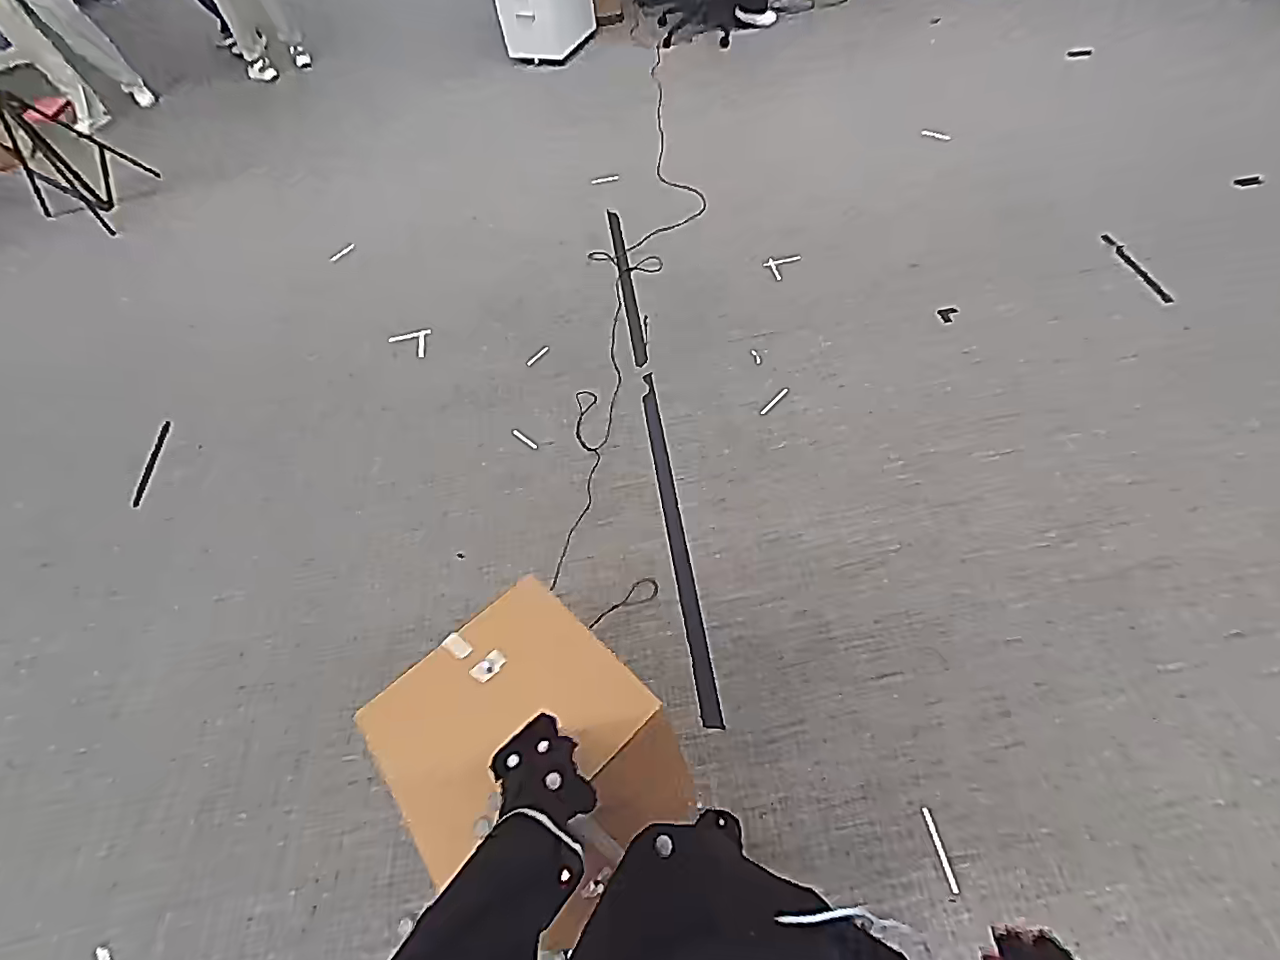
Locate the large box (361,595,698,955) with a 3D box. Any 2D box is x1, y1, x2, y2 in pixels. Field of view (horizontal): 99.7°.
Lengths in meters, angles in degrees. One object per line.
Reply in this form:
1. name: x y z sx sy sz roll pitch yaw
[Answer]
1. large box: -0.144 0.459 0.852 0.320 0.408 0.320 -40 50 -22
